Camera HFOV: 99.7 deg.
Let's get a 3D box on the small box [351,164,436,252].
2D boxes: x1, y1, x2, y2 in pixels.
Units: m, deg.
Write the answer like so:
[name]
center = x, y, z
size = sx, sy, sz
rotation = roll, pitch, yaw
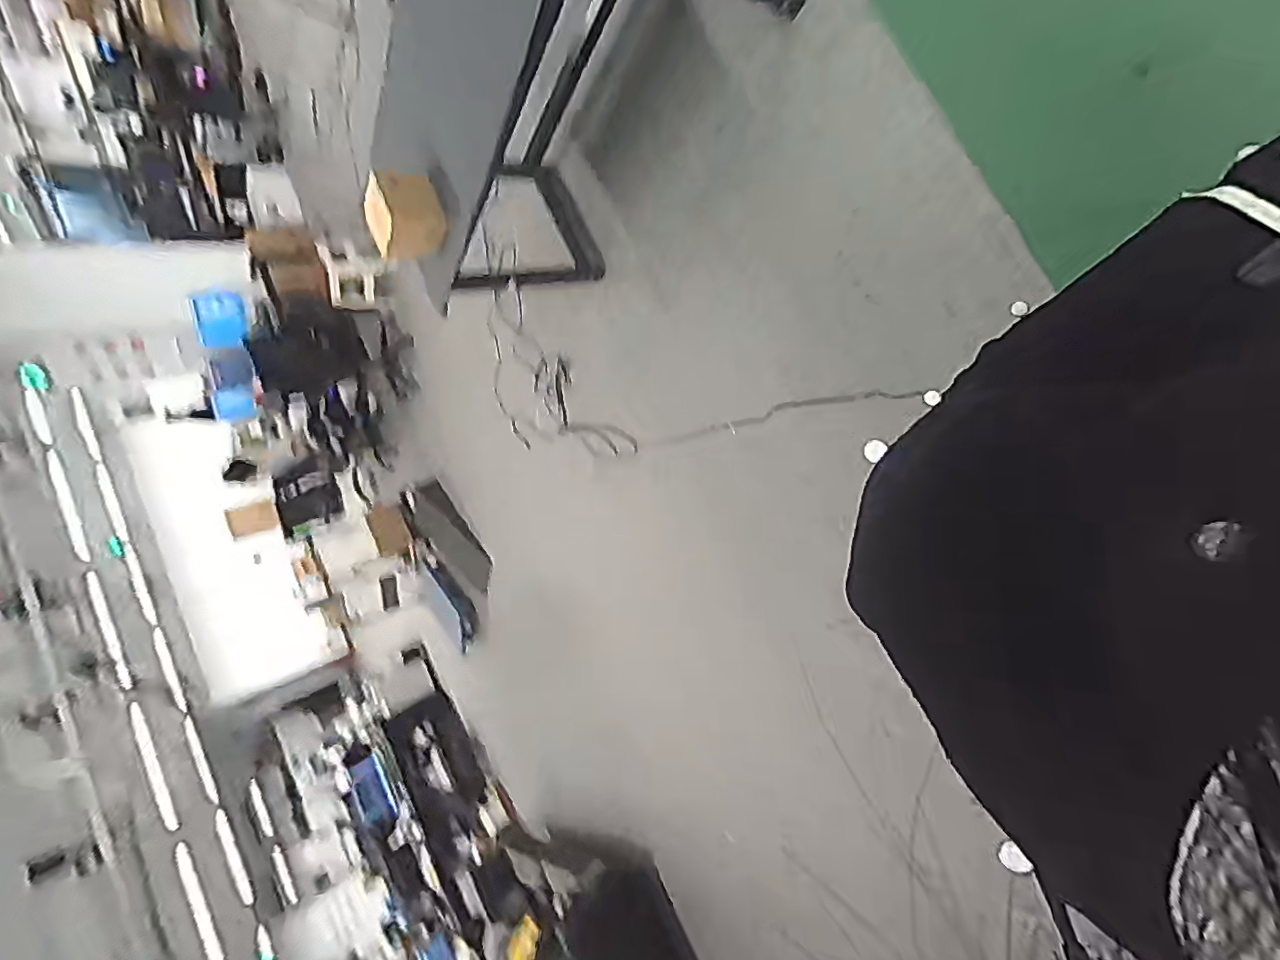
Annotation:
[small box]
center = -0.739, -0.807, 1.622
size = 0.168, 0.176, 0.179
rotation = -31, 82, 51
